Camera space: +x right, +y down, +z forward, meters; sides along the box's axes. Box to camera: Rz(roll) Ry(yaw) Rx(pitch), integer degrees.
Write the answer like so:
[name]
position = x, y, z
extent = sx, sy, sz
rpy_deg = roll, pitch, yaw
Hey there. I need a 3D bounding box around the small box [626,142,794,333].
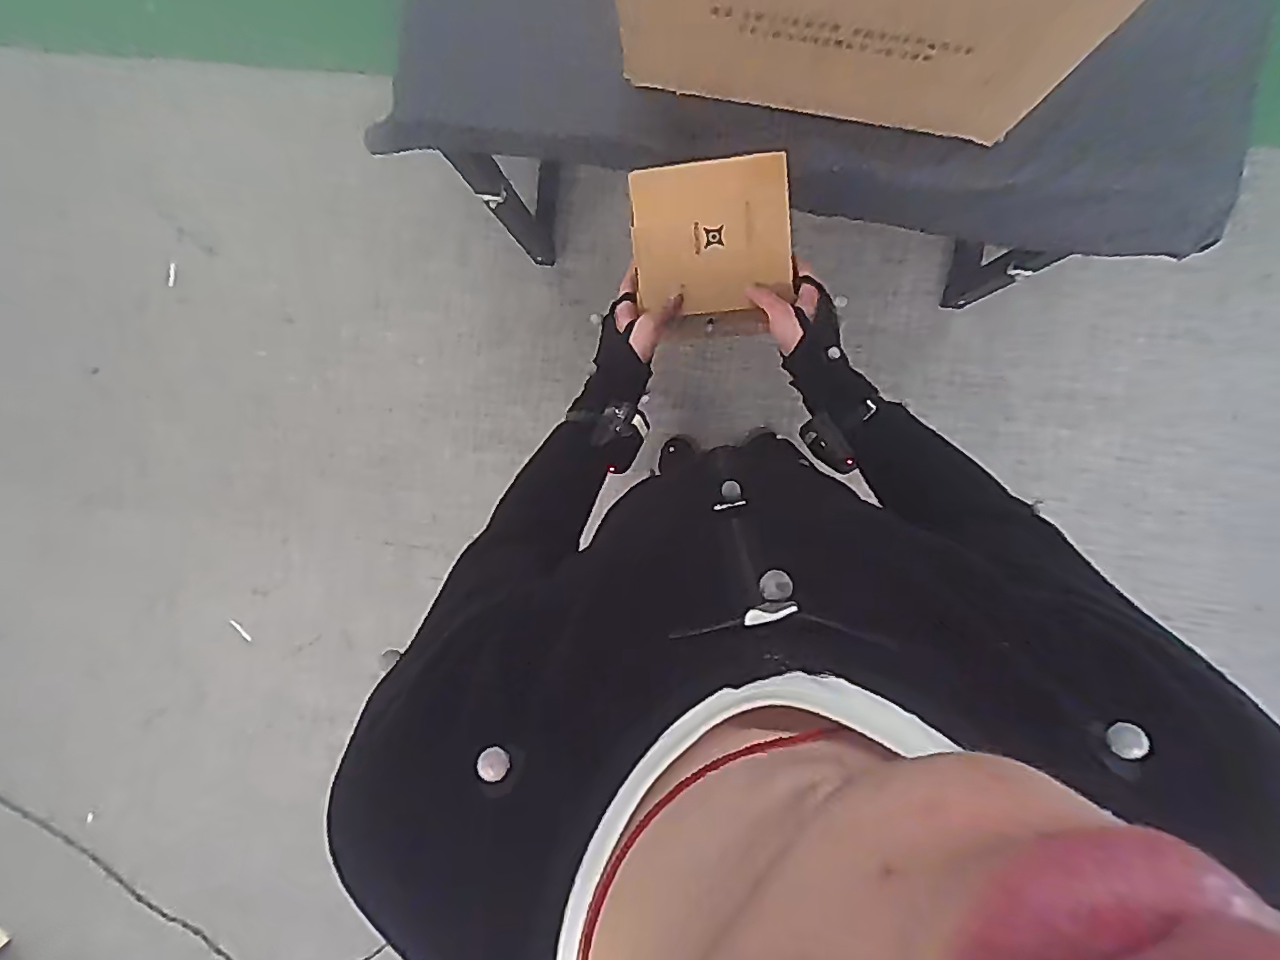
[small box]
position = 0.084, -0.286, 0.676
extent = 0.179, 0.176, 0.168
rpy_deg = -5, 96, 4
